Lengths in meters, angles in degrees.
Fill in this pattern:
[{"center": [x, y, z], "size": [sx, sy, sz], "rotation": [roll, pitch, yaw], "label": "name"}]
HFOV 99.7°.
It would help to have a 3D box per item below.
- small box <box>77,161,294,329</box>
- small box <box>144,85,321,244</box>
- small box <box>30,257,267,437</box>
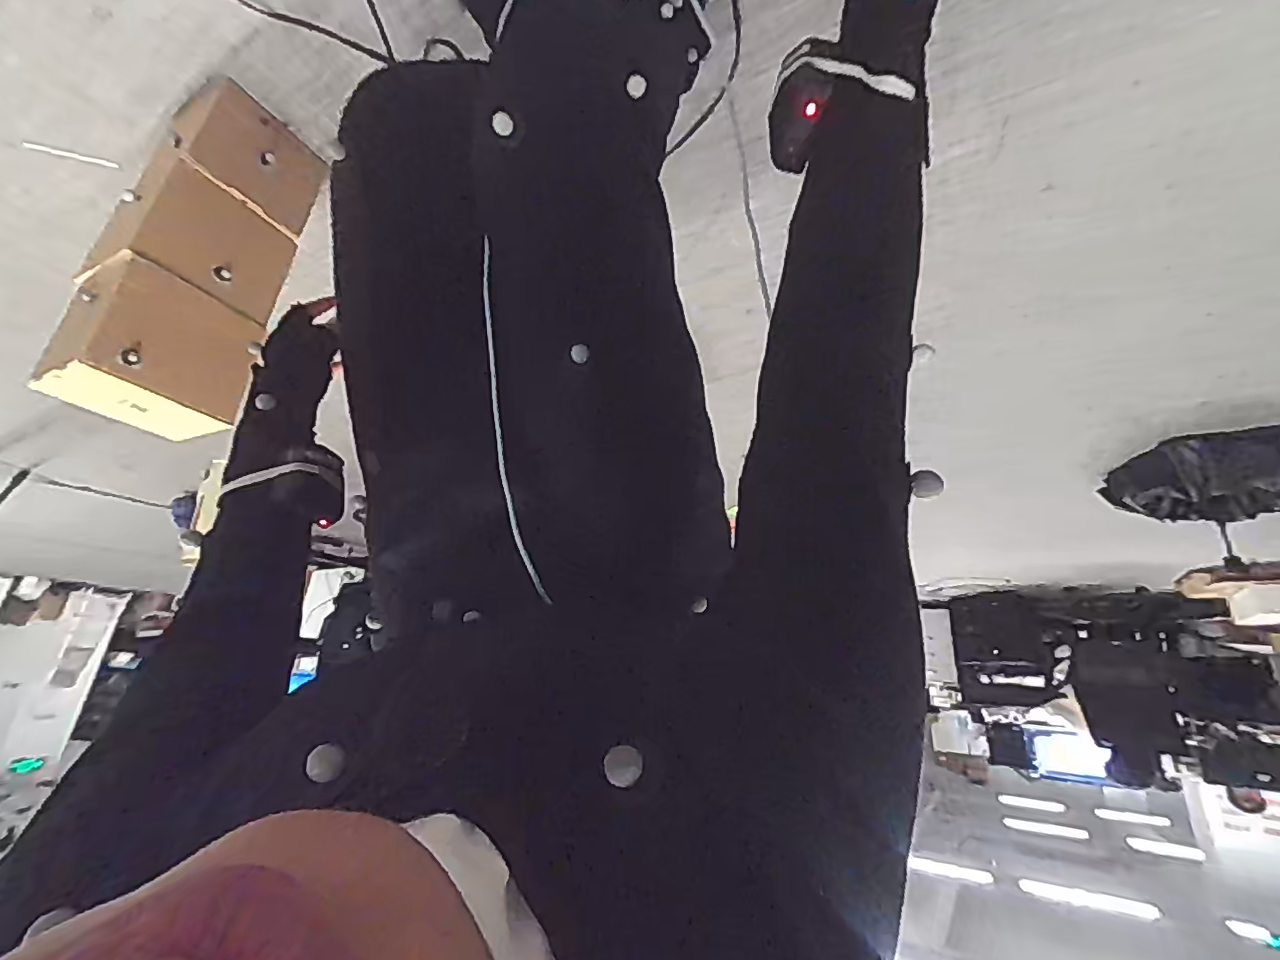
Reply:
[{"center": [-0.672, -0.333, 0.821], "size": [0.168, 0.176, 0.179], "rotation": [-6, 156, 26], "label": "small box"}, {"center": [-0.654, -0.487, 0.877], "size": [0.179, 0.176, 0.168], "rotation": [-7, 156, 26], "label": "small box"}, {"center": [-0.680, -0.179, 0.769], "size": [0.168, 0.176, 0.179], "rotation": [-6, 156, 26], "label": "small box"}]
